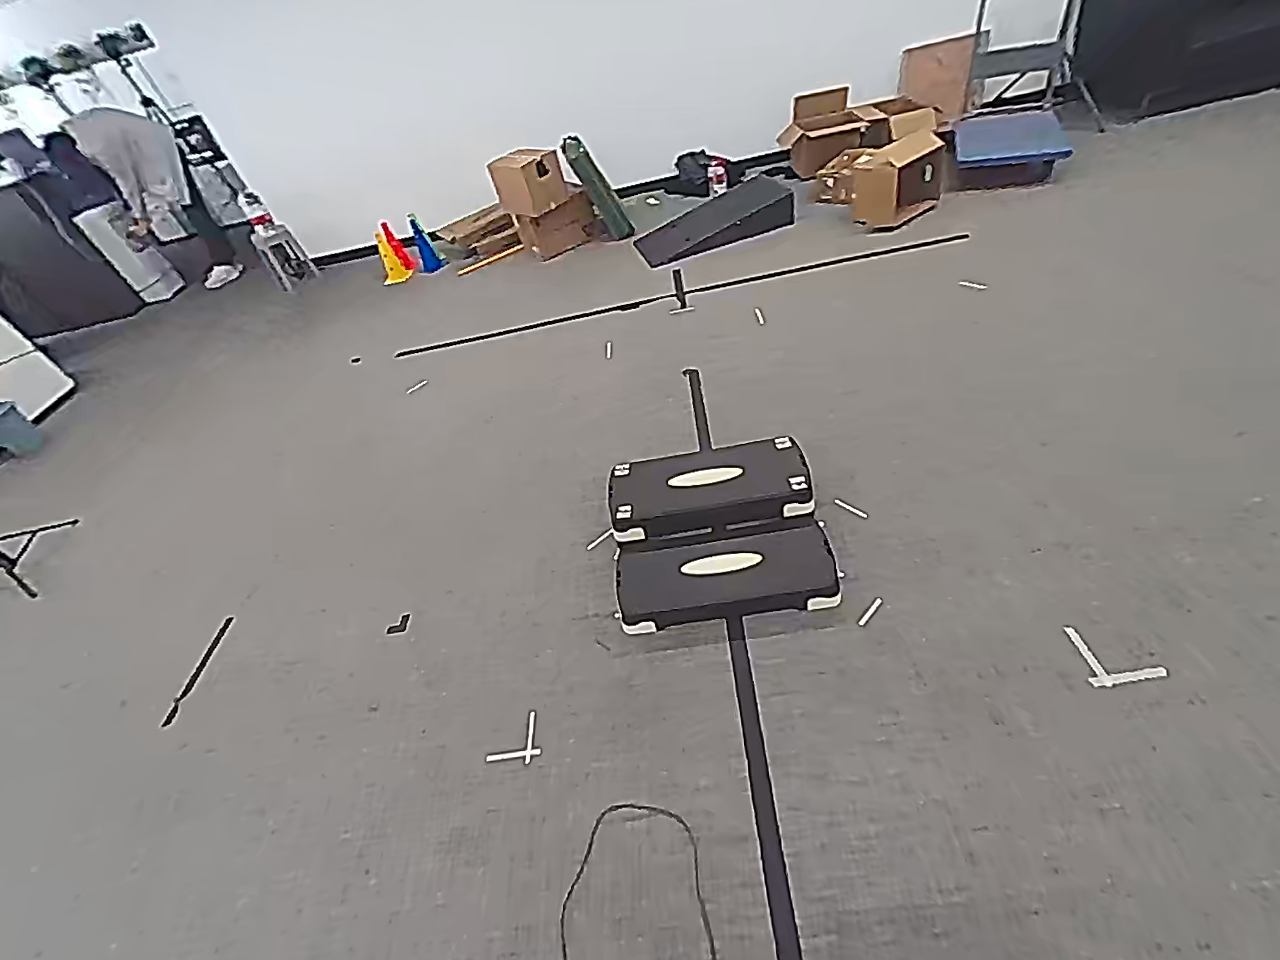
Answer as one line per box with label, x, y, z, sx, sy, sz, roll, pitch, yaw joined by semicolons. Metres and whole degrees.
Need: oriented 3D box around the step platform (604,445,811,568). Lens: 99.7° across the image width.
step platform;0.220;0.085;1.842;0.684;0.204;0.286;-10;44;5
